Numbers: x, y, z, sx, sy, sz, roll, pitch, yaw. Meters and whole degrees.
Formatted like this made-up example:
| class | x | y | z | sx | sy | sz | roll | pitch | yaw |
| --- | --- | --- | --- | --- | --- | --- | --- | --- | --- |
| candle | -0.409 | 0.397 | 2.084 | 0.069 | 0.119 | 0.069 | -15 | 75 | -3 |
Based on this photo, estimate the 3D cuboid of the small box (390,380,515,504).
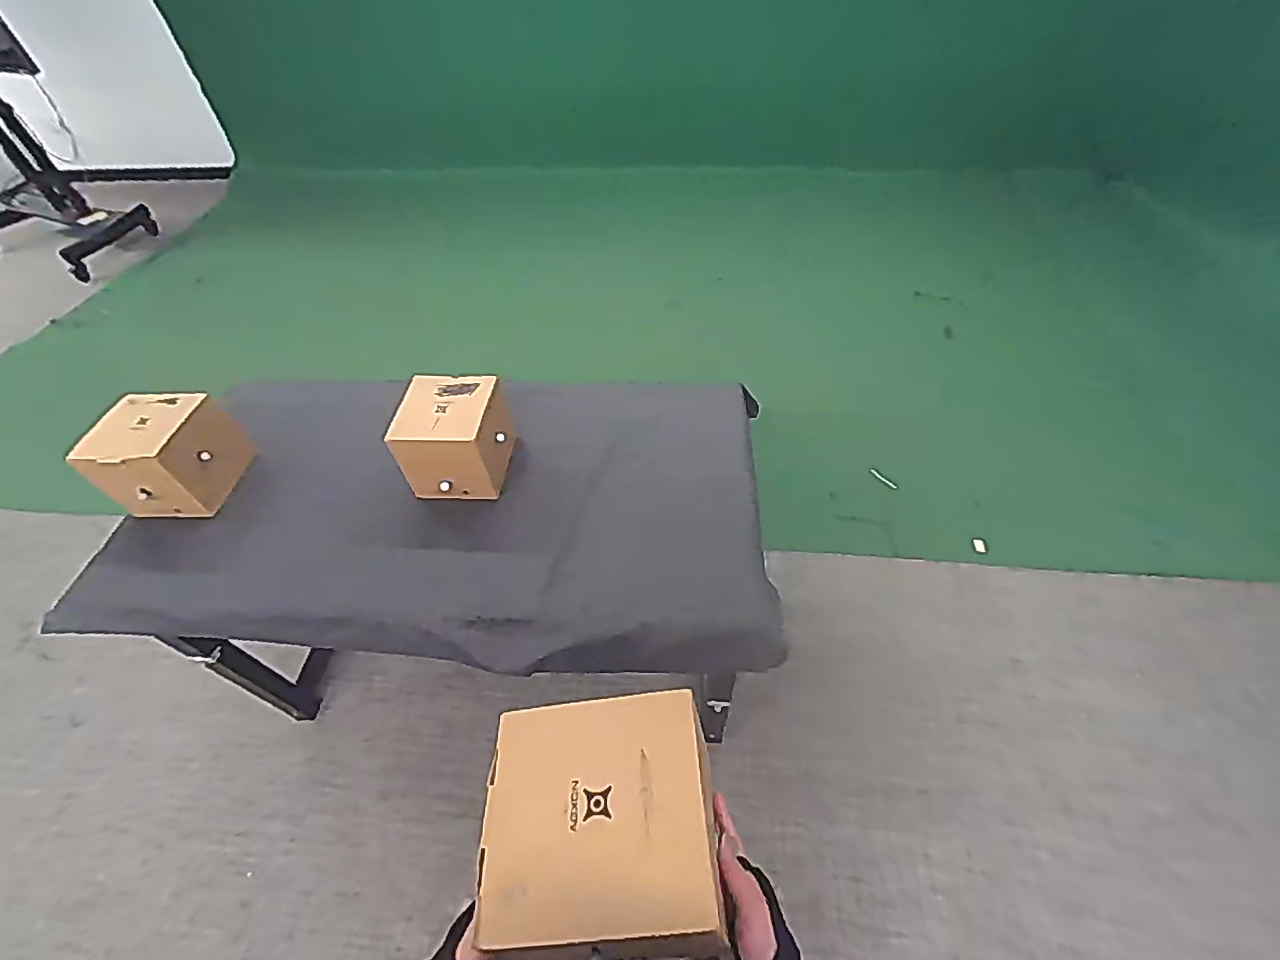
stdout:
| class | x | y | z | sx | sy | sz | roll | pitch | yaw |
| --- | --- | --- | --- | --- | --- | --- | --- | --- | --- |
| small box | -0.350 | -0.074 | 1.055 | 0.168 | 0.176 | 0.179 | 2 | 51 | 4 |

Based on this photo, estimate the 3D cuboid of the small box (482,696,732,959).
| class | x | y | z | sx | sy | sz | roll | pitch | yaw |
| --- | --- | --- | --- | --- | --- | --- | --- | --- | --- |
| small box | -0.018 | 0.317 | 0.487 | 0.179 | 0.176 | 0.168 | -8 | 46 | 4 |

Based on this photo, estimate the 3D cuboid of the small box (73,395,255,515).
| class | x | y | z | sx | sy | sz | roll | pitch | yaw |
| --- | --- | --- | --- | --- | --- | --- | --- | --- | --- |
| small box | -0.902 | -0.046 | 1.050 | 0.168 | 0.176 | 0.179 | 1 | 50 | 2 |
